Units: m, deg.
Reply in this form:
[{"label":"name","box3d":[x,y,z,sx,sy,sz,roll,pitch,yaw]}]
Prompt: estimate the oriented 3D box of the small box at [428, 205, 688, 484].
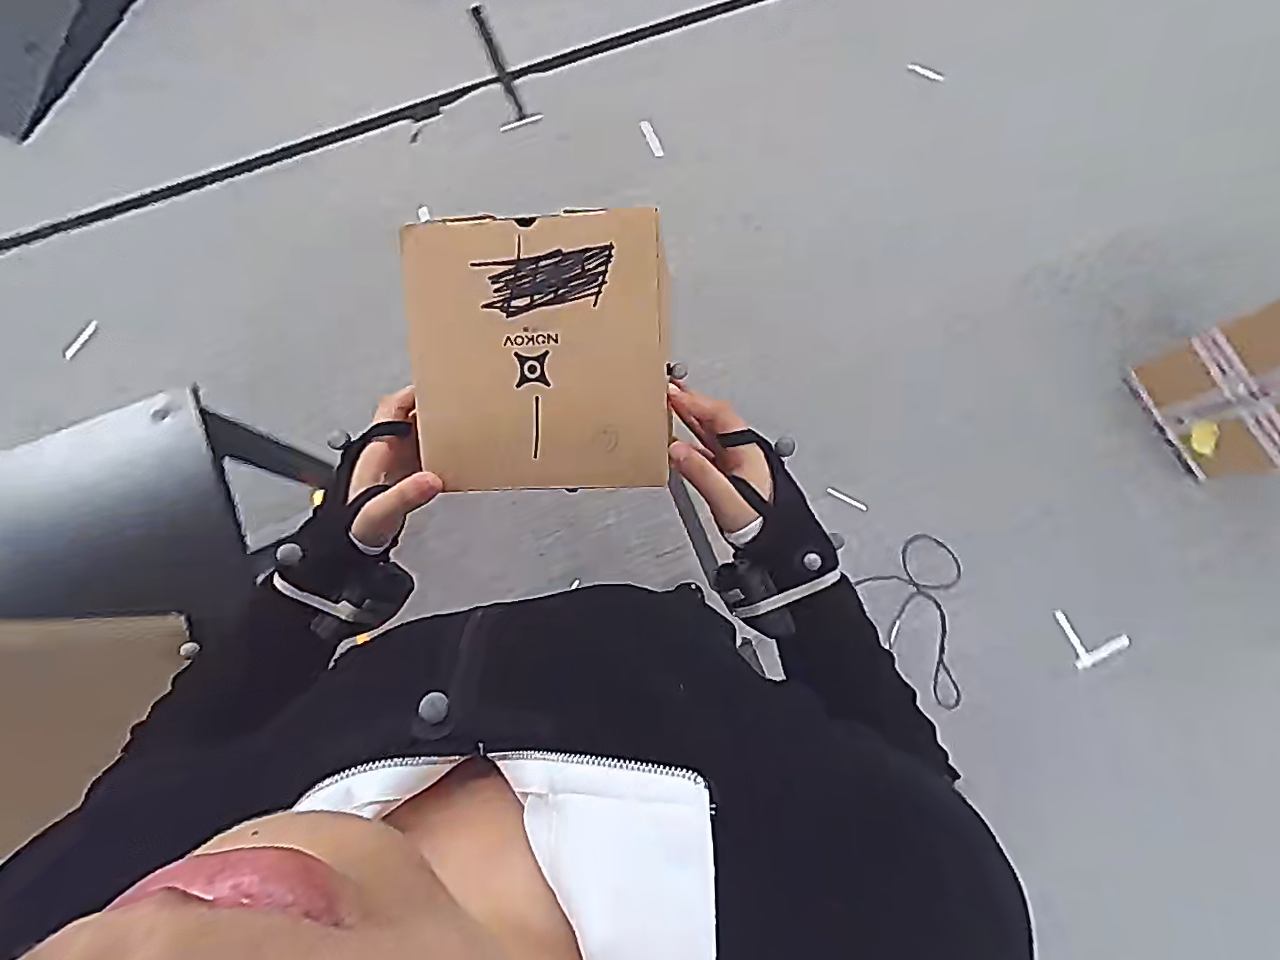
[{"label":"small box","box3d":[-0.047,-0.092,0.429,0.168,0.176,0.179,-1,96,7]}]
